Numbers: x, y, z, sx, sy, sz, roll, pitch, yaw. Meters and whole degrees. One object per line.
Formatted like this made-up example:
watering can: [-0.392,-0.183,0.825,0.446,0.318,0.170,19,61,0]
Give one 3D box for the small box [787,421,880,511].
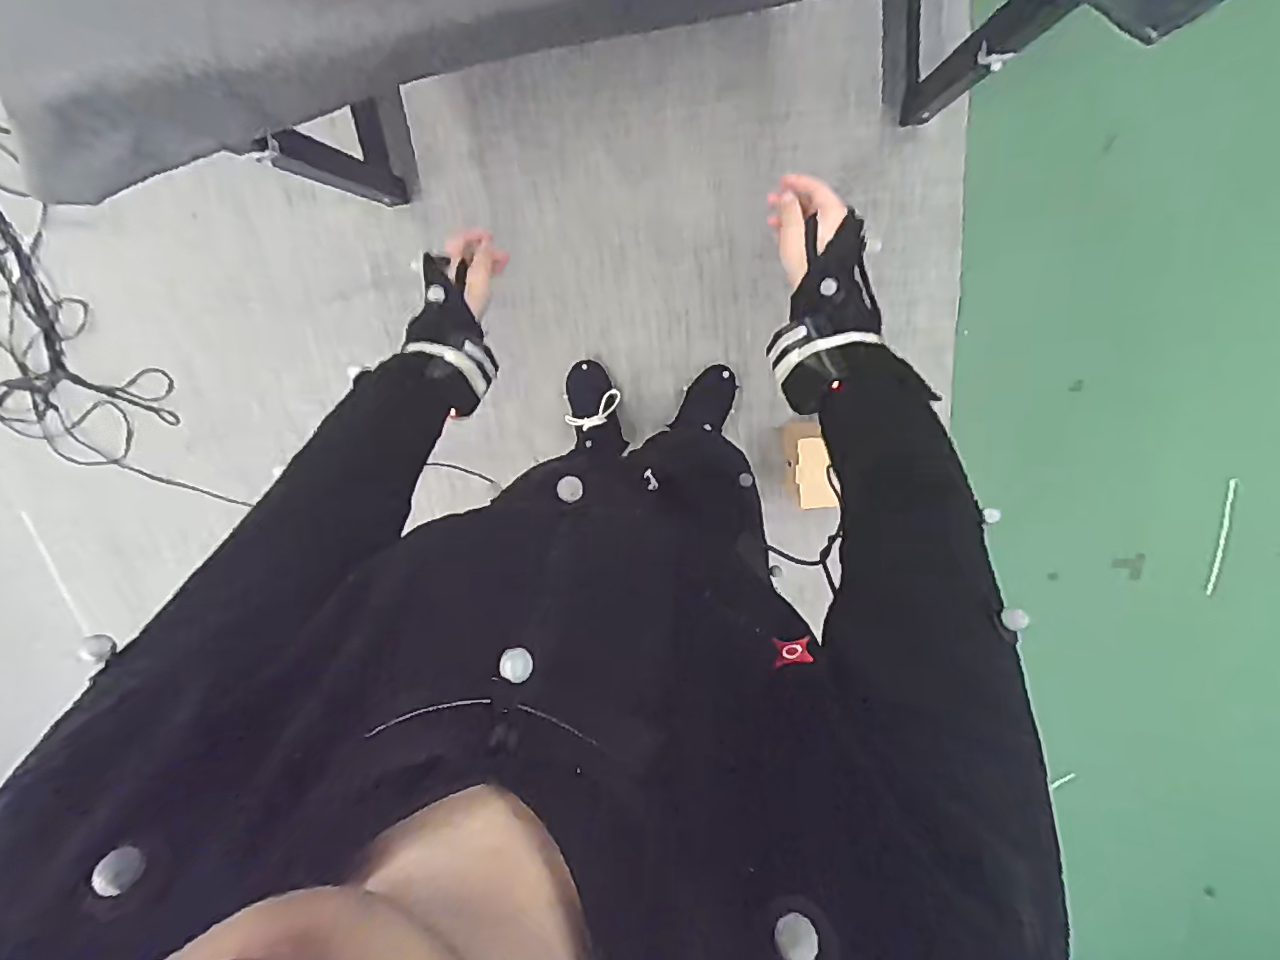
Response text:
small box: [0.440,-0.036,1.257,0.179,0.176,0.168,-5,107,6]
